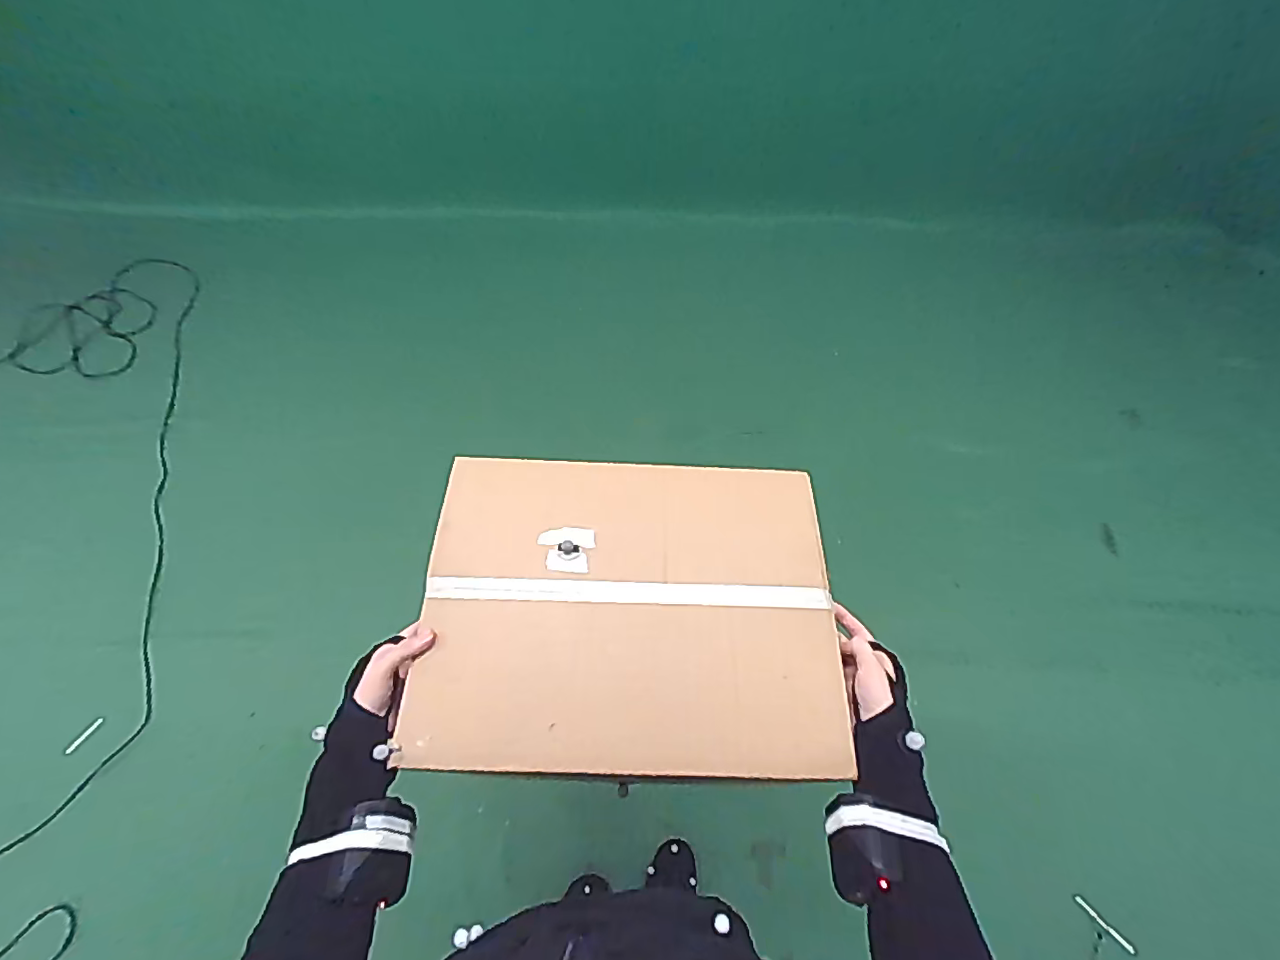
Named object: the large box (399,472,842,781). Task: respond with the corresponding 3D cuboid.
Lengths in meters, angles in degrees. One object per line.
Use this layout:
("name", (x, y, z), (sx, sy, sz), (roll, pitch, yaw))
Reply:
("large box", (-0.017, 0.203, 0.683), (0.408, 0.320, 0.320), (2, 58, -1))
